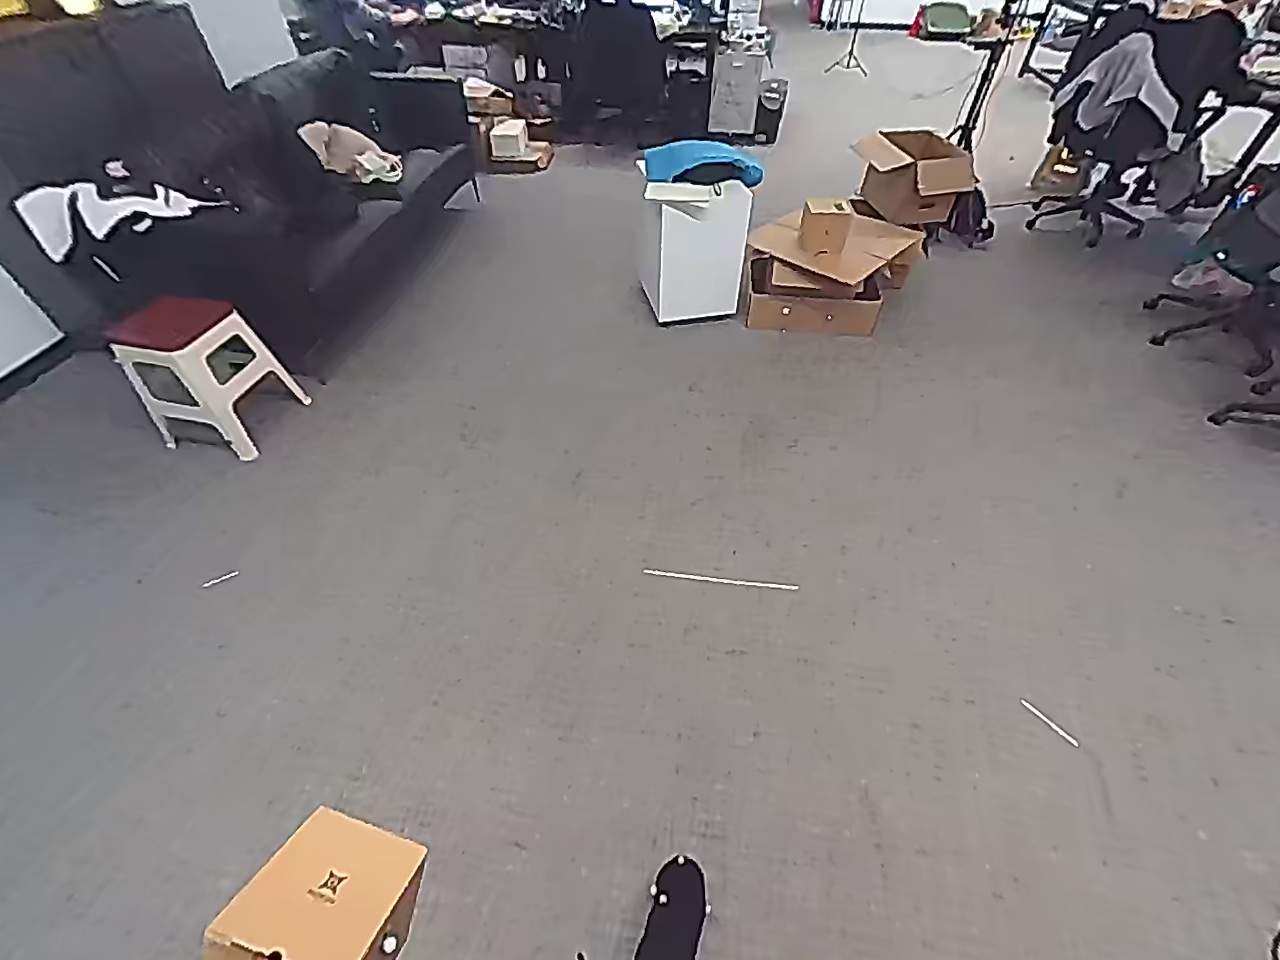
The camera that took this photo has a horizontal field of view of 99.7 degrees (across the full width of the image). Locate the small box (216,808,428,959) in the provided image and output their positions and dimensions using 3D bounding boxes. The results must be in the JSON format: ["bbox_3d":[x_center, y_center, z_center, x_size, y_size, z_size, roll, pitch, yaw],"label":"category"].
[{"bbox_3d":[-0.399,0.571,0.678,0.168,0.176,0.179,18,13,4],"label":"small box"}]
